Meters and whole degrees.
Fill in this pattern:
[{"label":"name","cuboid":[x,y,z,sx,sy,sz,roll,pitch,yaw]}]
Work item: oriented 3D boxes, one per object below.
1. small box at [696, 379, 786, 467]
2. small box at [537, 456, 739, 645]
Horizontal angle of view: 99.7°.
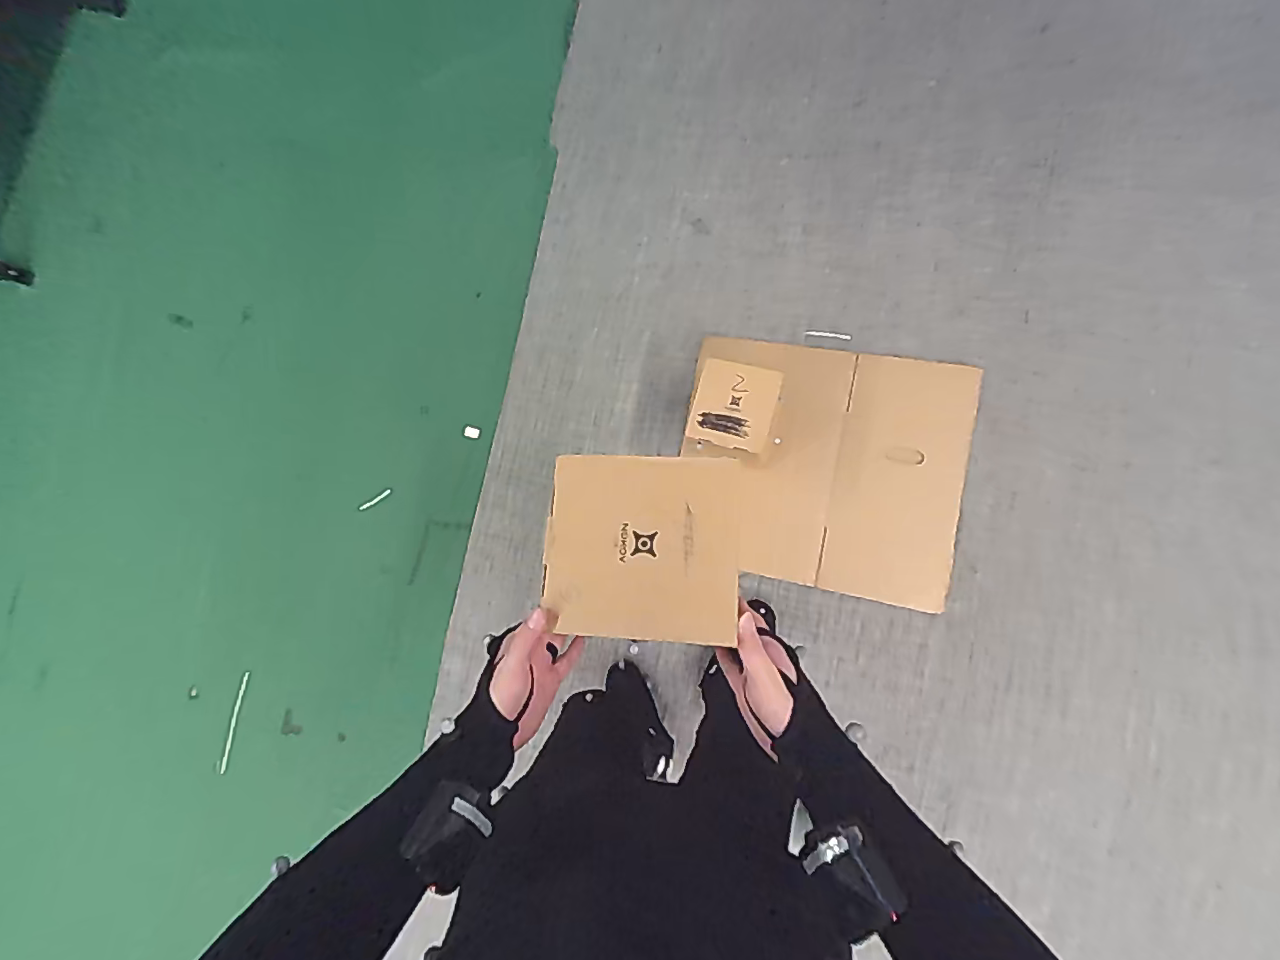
[{"label":"small box","cuboid":[0.254,-0.135,1.345,0.179,0.176,0.168,15,88,14]},{"label":"small box","cuboid":[0.011,0.079,0.564,0.179,0.176,0.168,2,75,9]}]
